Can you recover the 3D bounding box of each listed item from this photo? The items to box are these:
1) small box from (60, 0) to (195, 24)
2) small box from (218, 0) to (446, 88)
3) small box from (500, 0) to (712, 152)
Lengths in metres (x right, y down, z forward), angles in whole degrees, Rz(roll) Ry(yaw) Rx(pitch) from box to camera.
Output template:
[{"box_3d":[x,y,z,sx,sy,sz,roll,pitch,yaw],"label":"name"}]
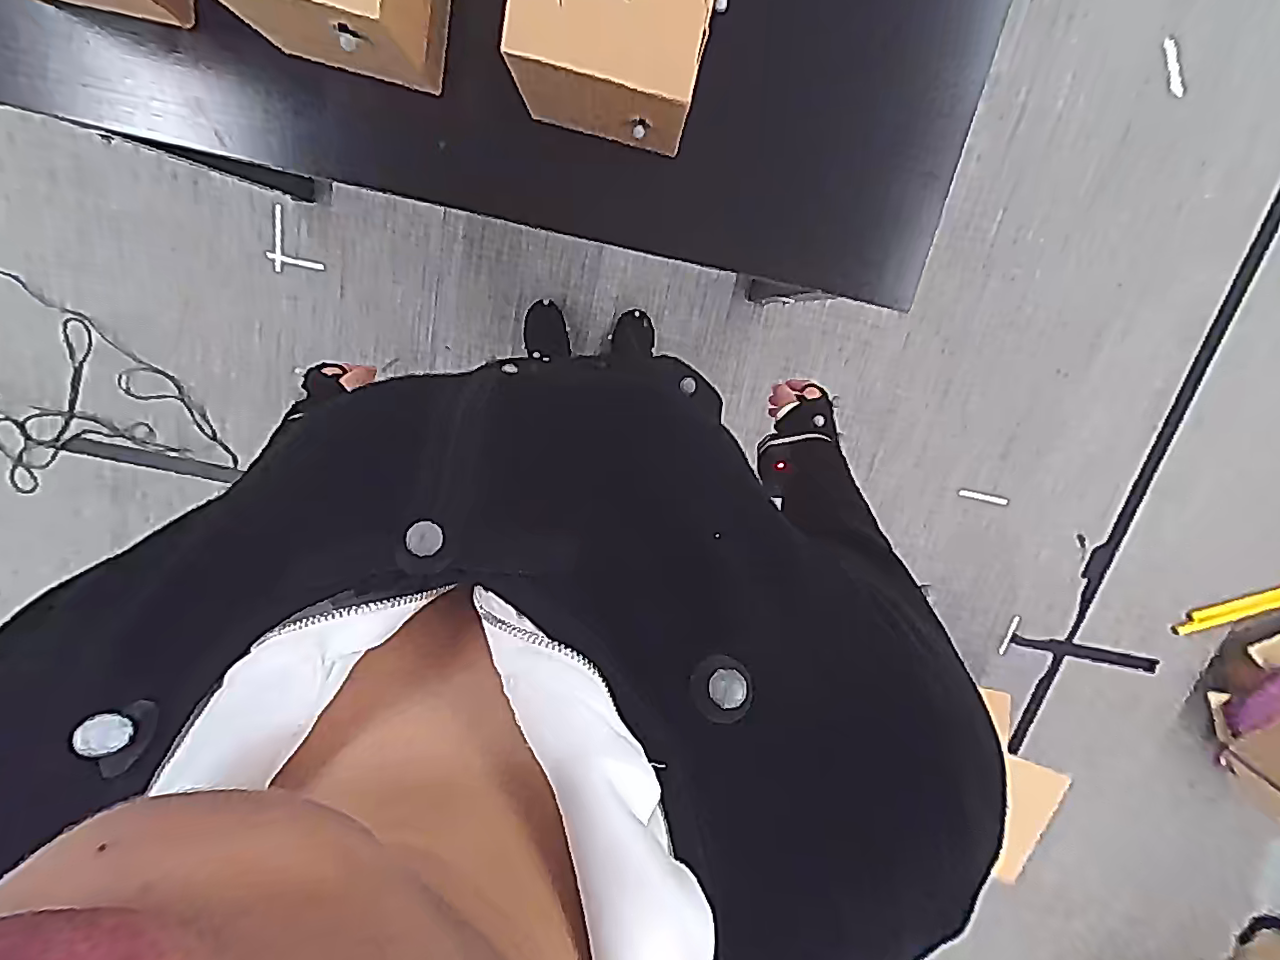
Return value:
[{"box_3d":[-0.559,-0.563,0.491,0.179,0.176,0.168,9,106,-4],"label":"small box"},{"box_3d":[-0.291,-0.511,0.514,0.179,0.176,0.168,12,105,-5],"label":"small box"},{"box_3d":[-0.025,-0.455,0.542,0.179,0.176,0.168,12,105,-4],"label":"small box"}]
